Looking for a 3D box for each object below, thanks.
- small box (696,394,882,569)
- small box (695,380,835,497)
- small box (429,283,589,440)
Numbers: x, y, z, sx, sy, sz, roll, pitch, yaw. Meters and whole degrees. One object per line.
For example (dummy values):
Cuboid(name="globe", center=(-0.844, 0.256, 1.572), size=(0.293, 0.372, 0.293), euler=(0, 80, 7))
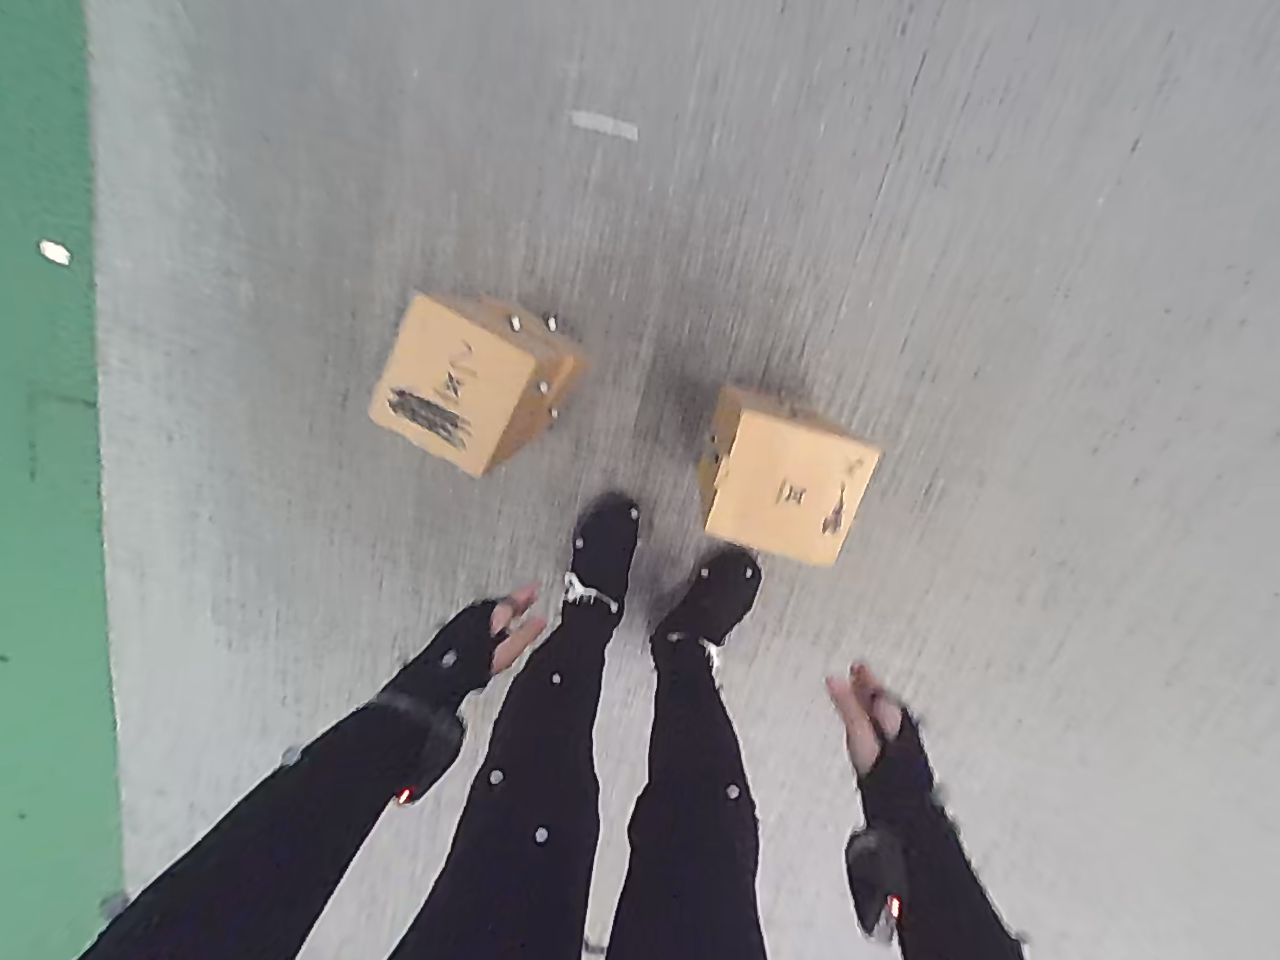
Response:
Cuboid(name="small box", center=(0.185, -0.010, 0.729), size=(0.179, 0.176, 0.168), euler=(19, 107, 2))
Cuboid(name="small box", center=(0.195, -0.053, 0.887), size=(0.168, 0.176, 0.179), euler=(17, 107, 1))
Cuboid(name="small box", center=(-0.202, -0.195, 0.887), size=(0.168, 0.176, 0.179), euler=(36, 106, -5))
